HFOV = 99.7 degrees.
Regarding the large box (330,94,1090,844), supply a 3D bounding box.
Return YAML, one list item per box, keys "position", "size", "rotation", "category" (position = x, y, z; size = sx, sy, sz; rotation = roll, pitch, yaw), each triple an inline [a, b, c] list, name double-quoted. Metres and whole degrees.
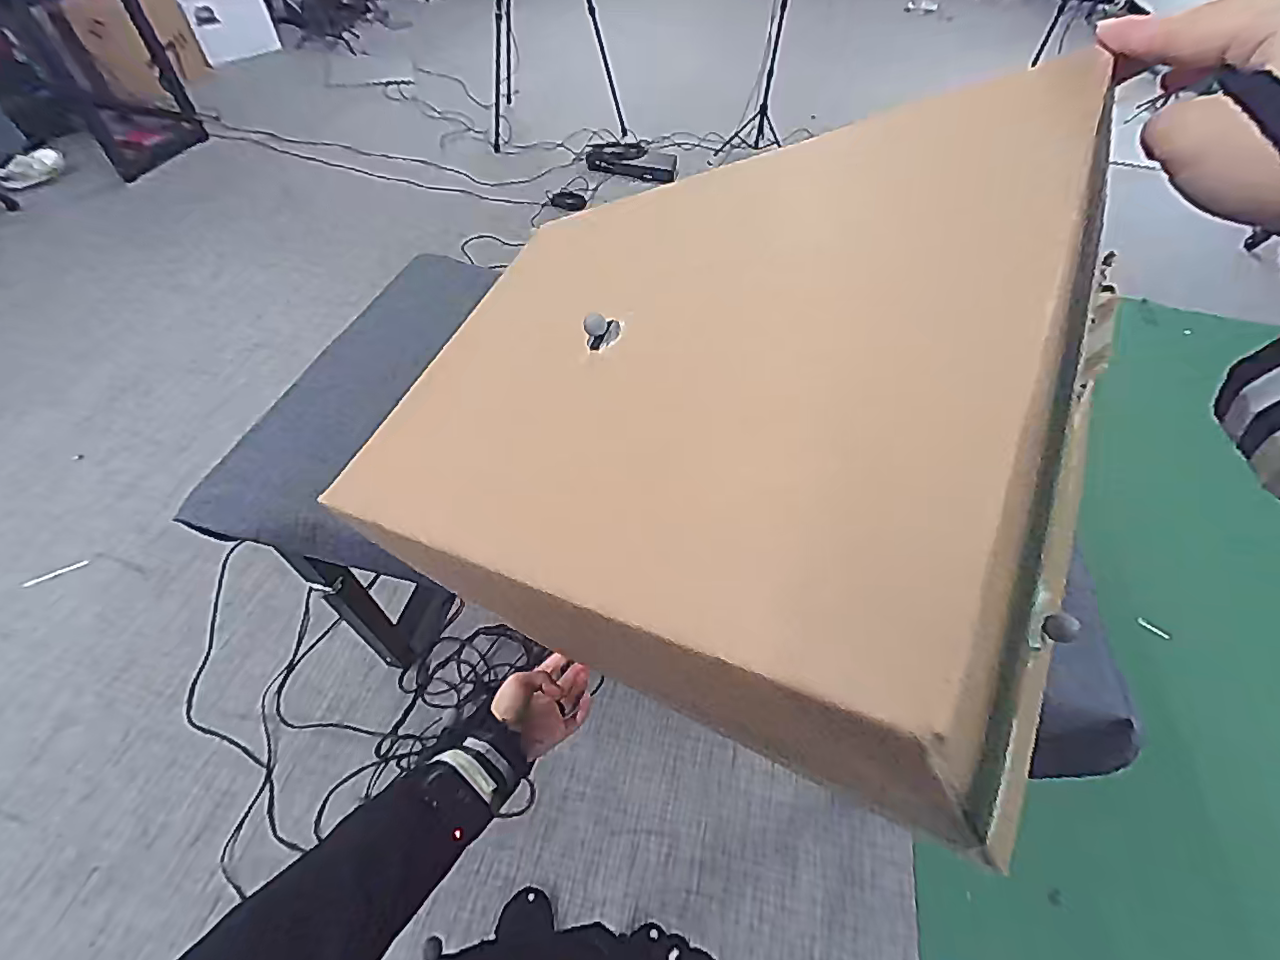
- position: [0.062, 0.008, 0.414]
  size: [0.408, 0.320, 0.320]
  rotation: [7, 59, 39]
  category: "large box"
